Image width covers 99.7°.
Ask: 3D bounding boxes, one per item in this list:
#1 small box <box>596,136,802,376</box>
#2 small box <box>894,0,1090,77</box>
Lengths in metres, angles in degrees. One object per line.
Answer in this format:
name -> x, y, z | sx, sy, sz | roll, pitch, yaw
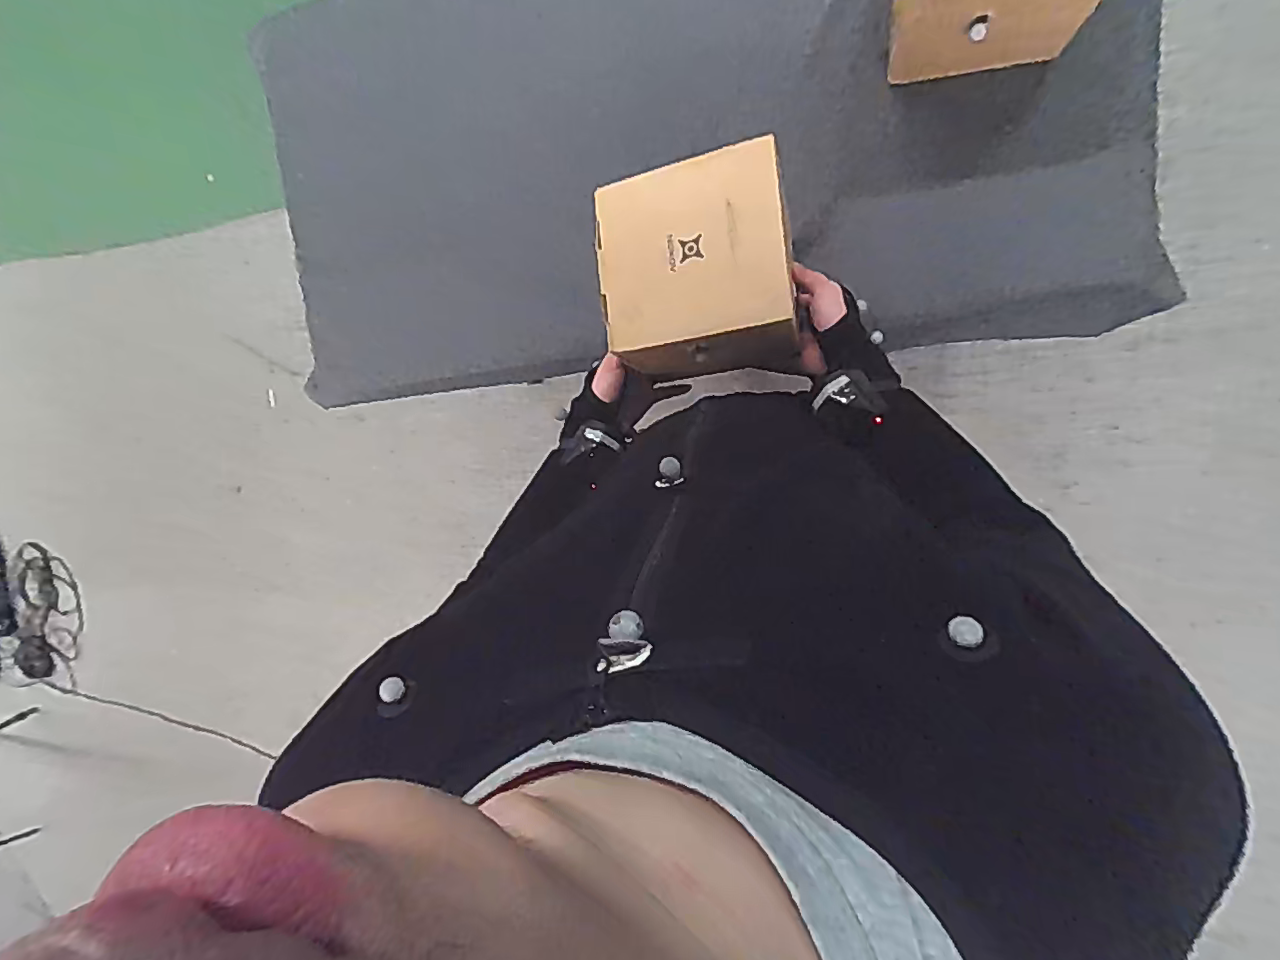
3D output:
small box -> 0.071, -0.214, 0.575 | 0.179, 0.176, 0.168 | -7, 89, 18
small box -> 0.360, -0.542, 0.539 | 0.179, 0.176, 0.168 | 2, 101, 18
